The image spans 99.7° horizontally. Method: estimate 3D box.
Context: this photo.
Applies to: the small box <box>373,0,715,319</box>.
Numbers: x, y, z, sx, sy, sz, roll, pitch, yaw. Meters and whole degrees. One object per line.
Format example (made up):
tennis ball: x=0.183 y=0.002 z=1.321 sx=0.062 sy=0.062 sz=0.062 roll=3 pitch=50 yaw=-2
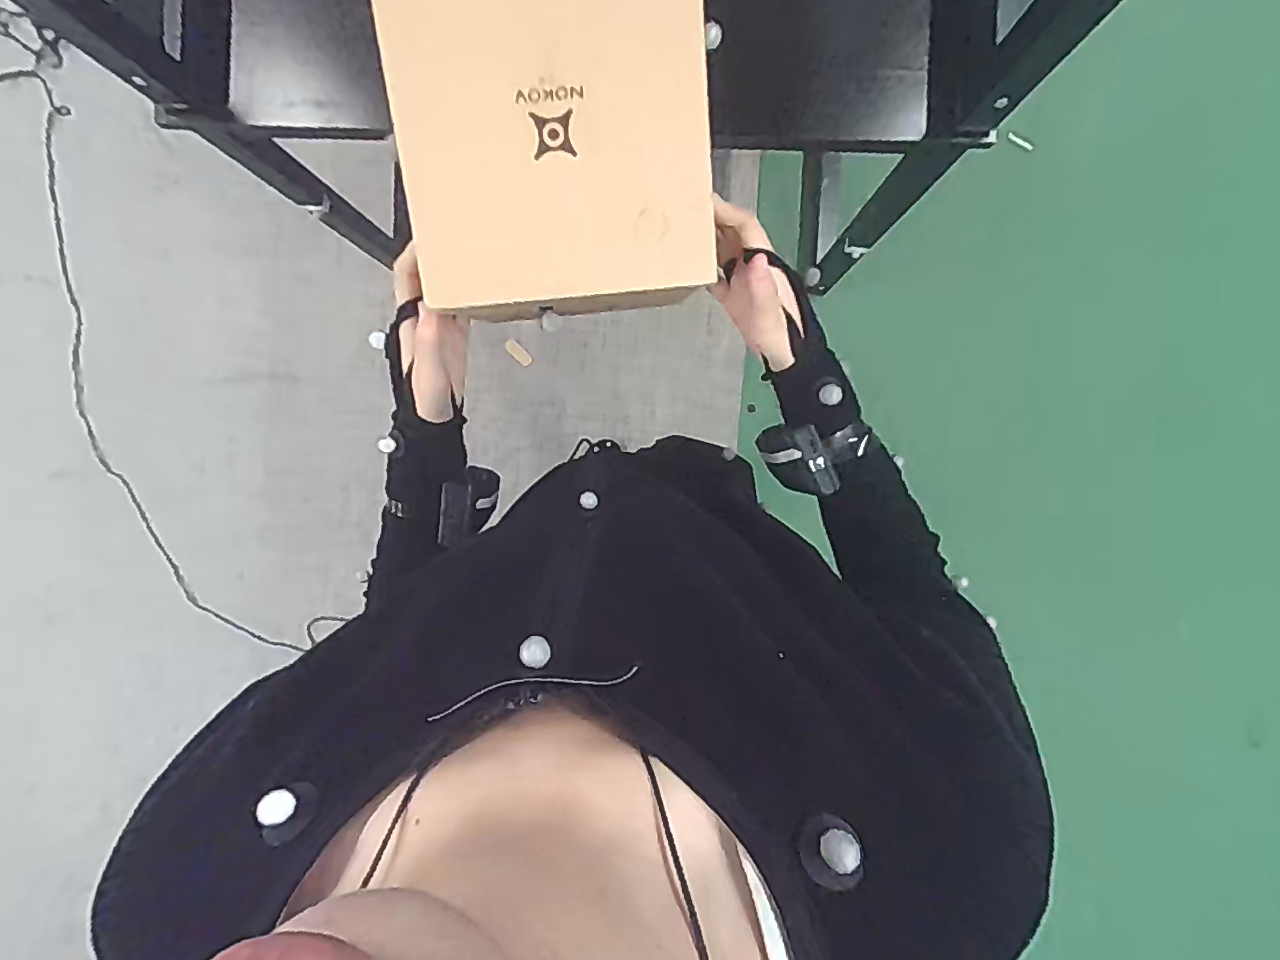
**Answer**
small box: x=-0.048 y=-0.205 z=0.357 sx=0.168 sy=0.176 sz=0.179 roll=-6 pitch=102 yaw=-1
